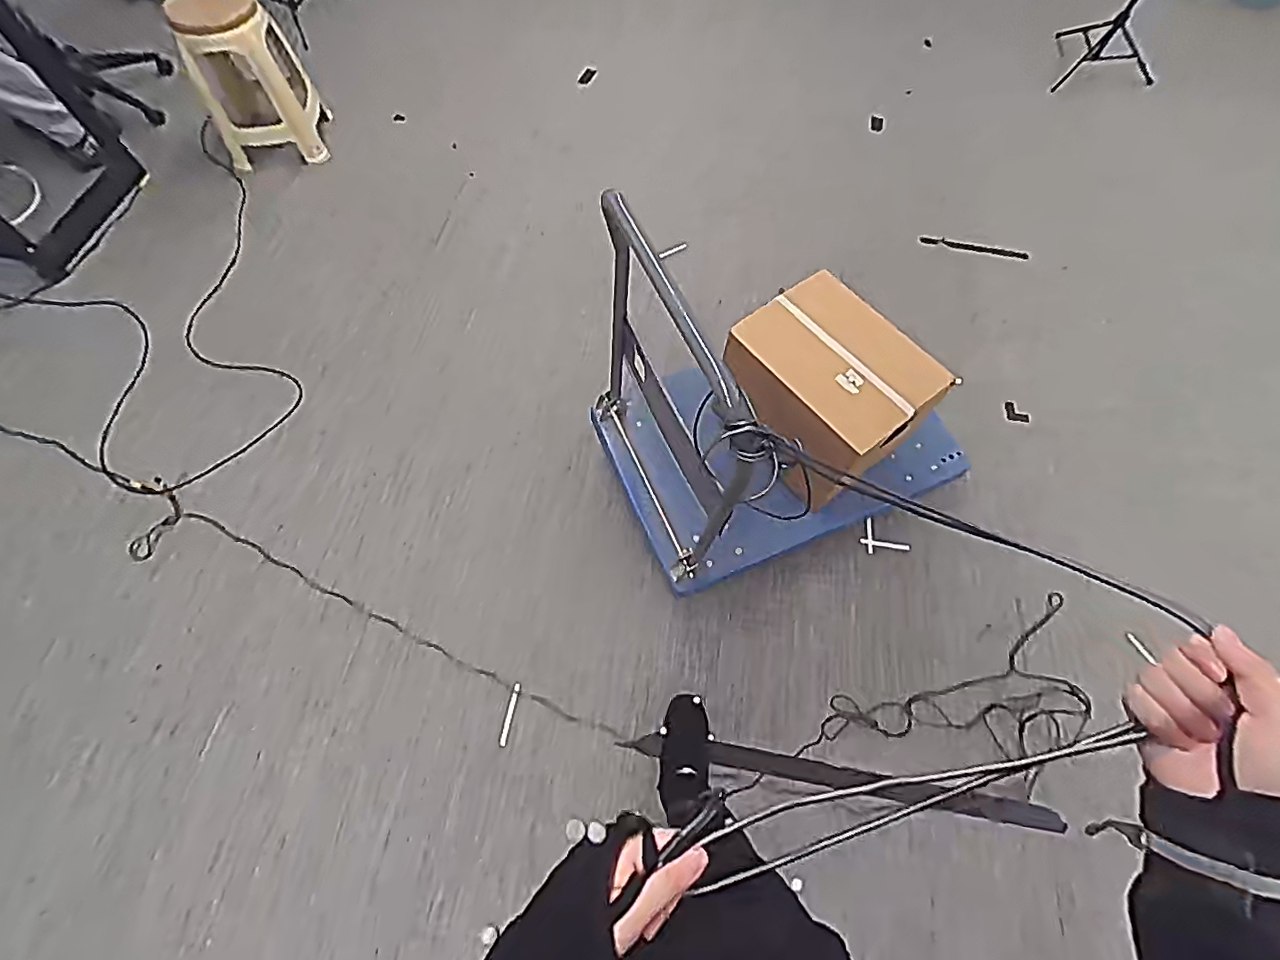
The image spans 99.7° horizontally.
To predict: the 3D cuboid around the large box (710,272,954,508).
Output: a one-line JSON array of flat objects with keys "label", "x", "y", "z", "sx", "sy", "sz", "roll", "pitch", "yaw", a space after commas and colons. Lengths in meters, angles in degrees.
[{"label": "large box", "x": 0.430, "y": -0.210, "z": 1.313, "sx": 0.320, "sy": 0.320, "sz": 0.408, "roll": -35, "pitch": 72, "yaw": -15}]
